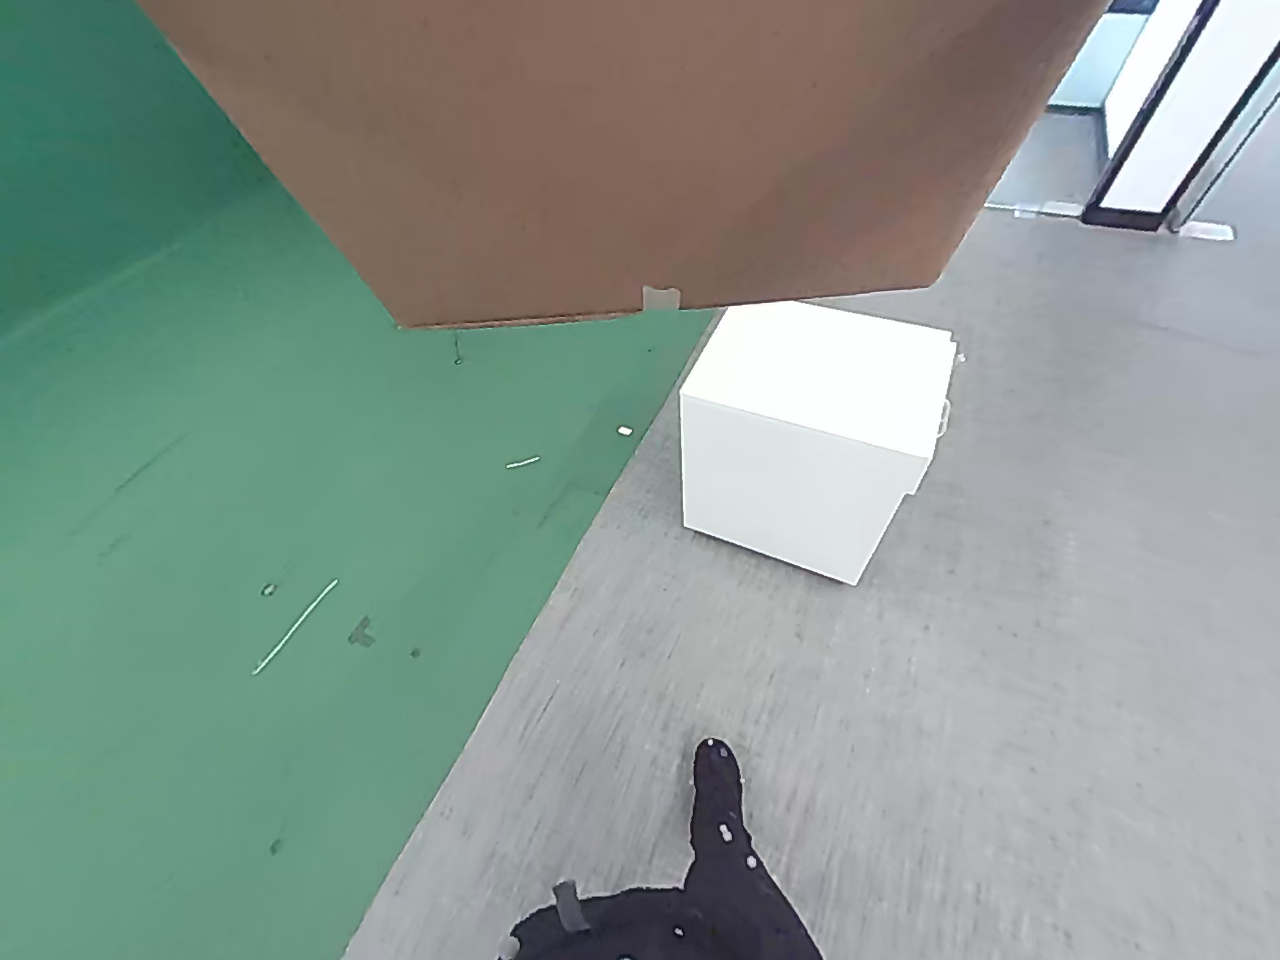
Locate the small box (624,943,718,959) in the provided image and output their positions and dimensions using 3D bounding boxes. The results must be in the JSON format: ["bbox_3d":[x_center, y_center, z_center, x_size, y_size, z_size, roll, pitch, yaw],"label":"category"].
[{"bbox_3d":[0.061,0.988,0.998,0.168,0.176,0.179,2,56,-9],"label":"small box"}]
